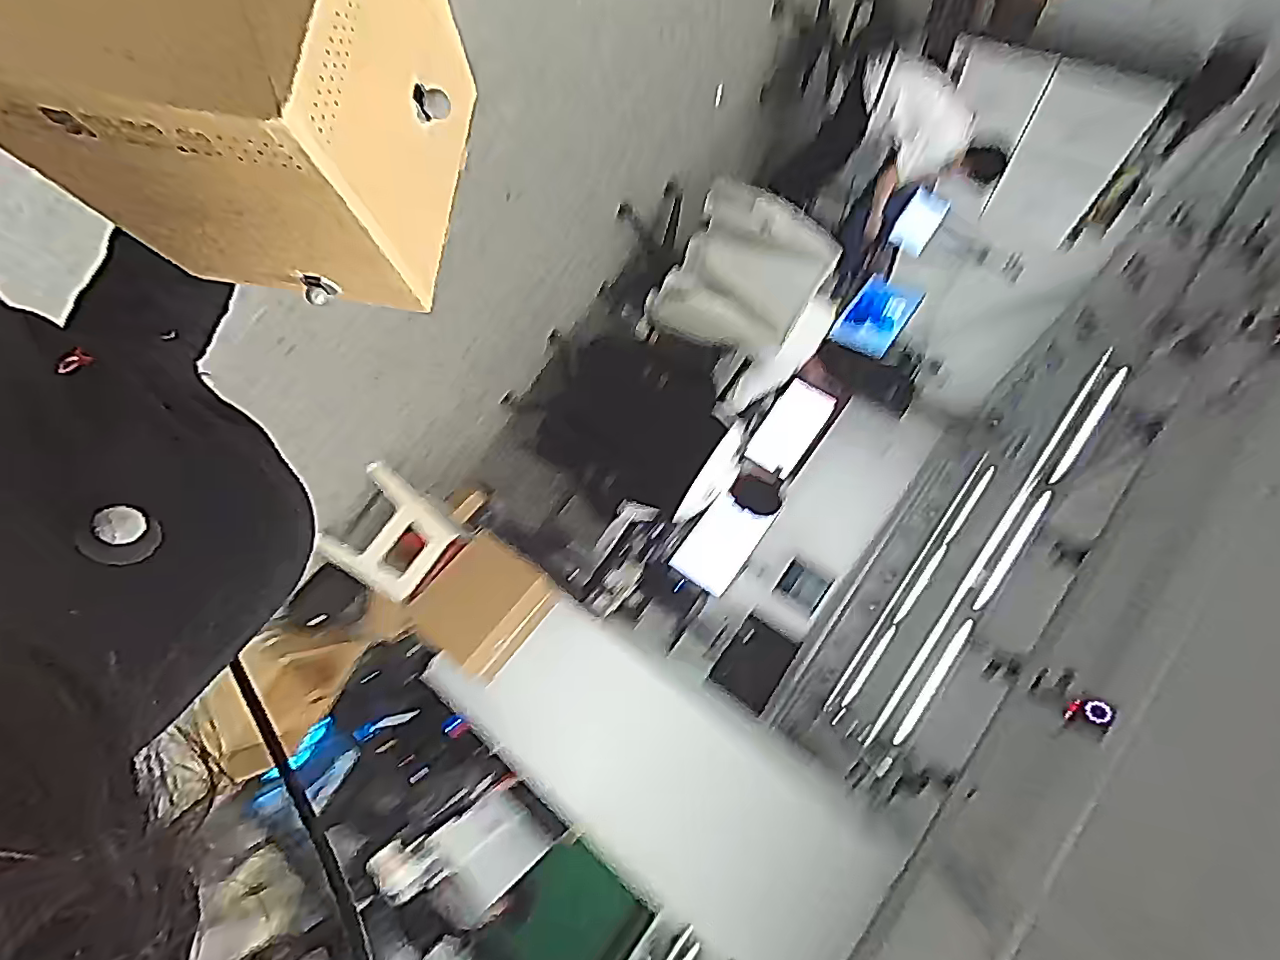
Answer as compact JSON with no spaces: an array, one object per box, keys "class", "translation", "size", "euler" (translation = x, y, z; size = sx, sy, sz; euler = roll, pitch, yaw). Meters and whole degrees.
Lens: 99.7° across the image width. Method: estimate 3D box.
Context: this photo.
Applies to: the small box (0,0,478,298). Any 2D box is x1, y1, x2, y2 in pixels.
[{"class":"small box","translation":[-0.205,-0.227,0.297],"size":[0.176,0.168,0.179],"euler":[91,7,-84]}]
